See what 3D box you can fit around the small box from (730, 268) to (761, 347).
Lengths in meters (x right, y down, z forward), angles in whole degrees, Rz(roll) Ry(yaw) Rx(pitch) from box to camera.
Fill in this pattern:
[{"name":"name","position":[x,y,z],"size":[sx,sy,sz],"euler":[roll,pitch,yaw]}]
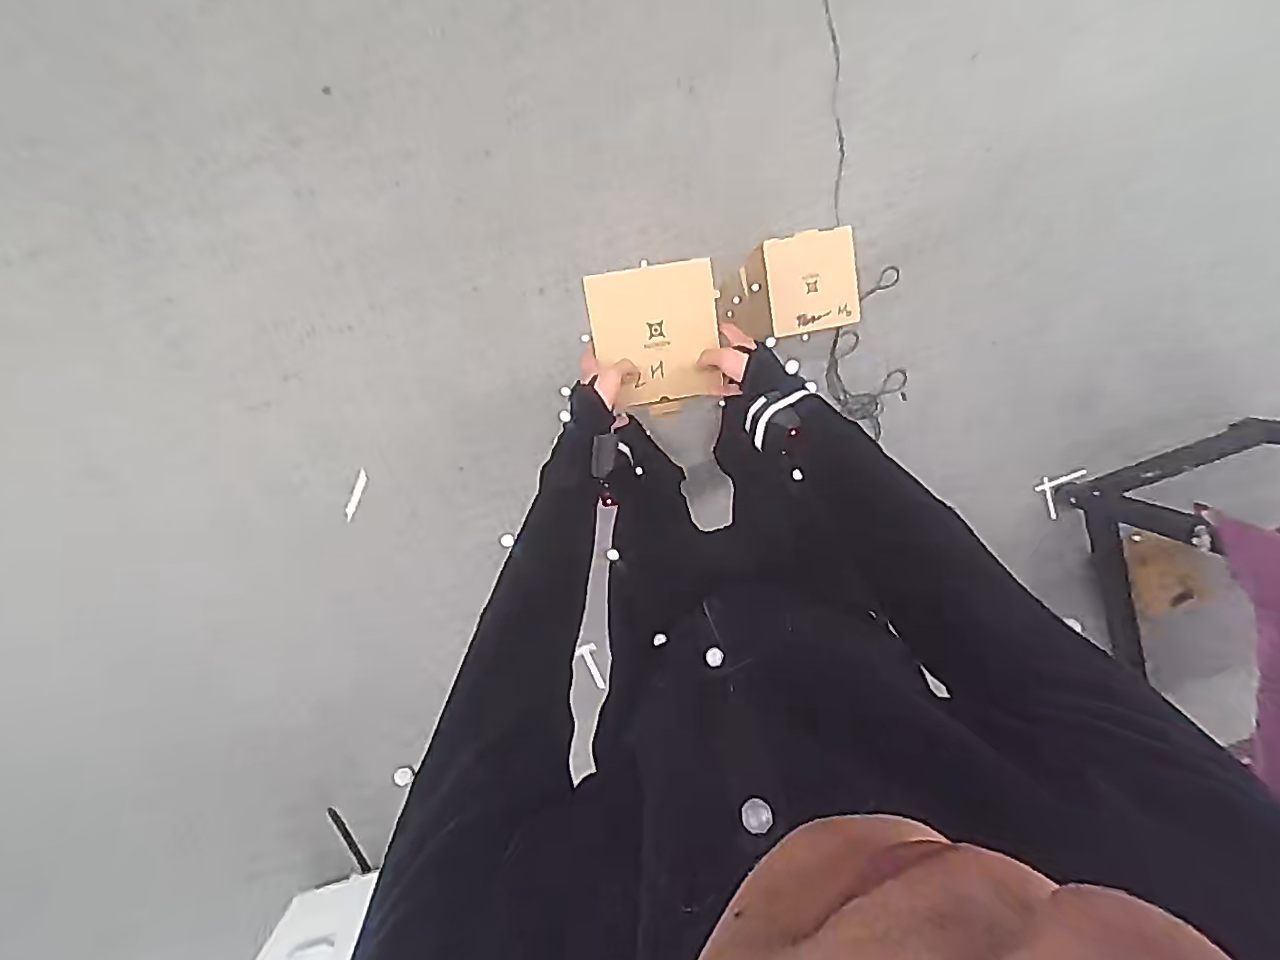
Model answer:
[{"name":"small box","position":[0.314,-0.410,1.238],"size":[0.179,0.176,0.168],"euler":[-18,101,3]}]

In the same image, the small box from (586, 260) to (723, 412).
[{"name":"small box","position":[0.015,-0.206,0.782],"size":[0.168,0.176,0.179],"euler":[-9,107,-2]}]

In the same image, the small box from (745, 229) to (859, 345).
[{"name":"small box","position":[0.314,-0.375,1.077],"size":[0.168,0.176,0.179],"euler":[-10,101,1]}]

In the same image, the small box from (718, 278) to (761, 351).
[{"name":"small box","position":[0.310,-0.443,1.397],"size":[0.168,0.176,0.179],"euler":[-19,102,3]}]
